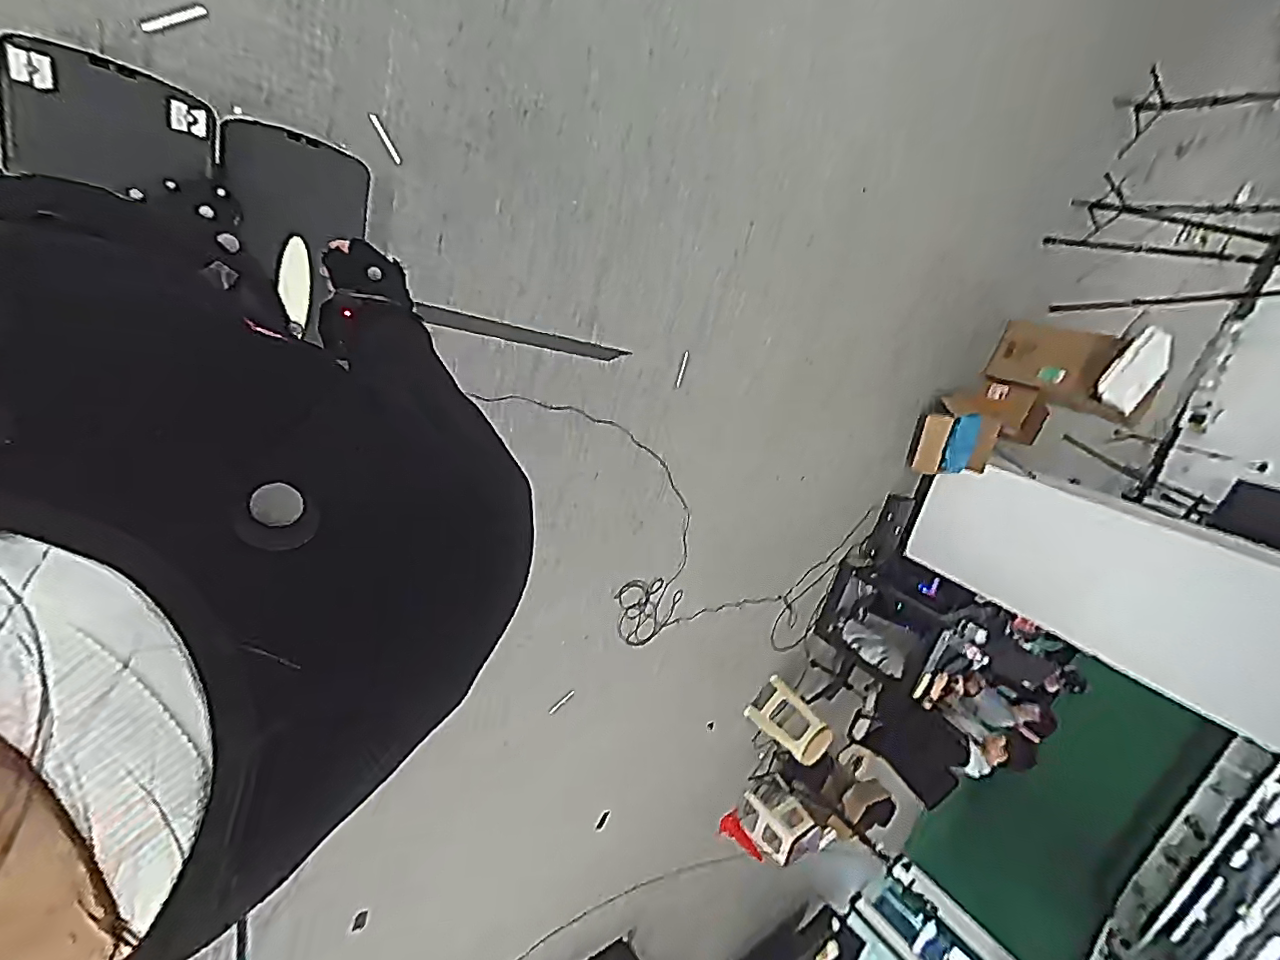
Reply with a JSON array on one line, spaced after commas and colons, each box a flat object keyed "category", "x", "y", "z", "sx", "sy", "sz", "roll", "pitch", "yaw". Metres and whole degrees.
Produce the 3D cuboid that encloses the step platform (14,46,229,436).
[{"category": "step platform", "x": -1.011, "y": -0.430, "z": 1.086, "sx": 0.286, "sy": 0.204, "sz": 0.684, "roll": 0, "pitch": 112, "yaw": -40}]
